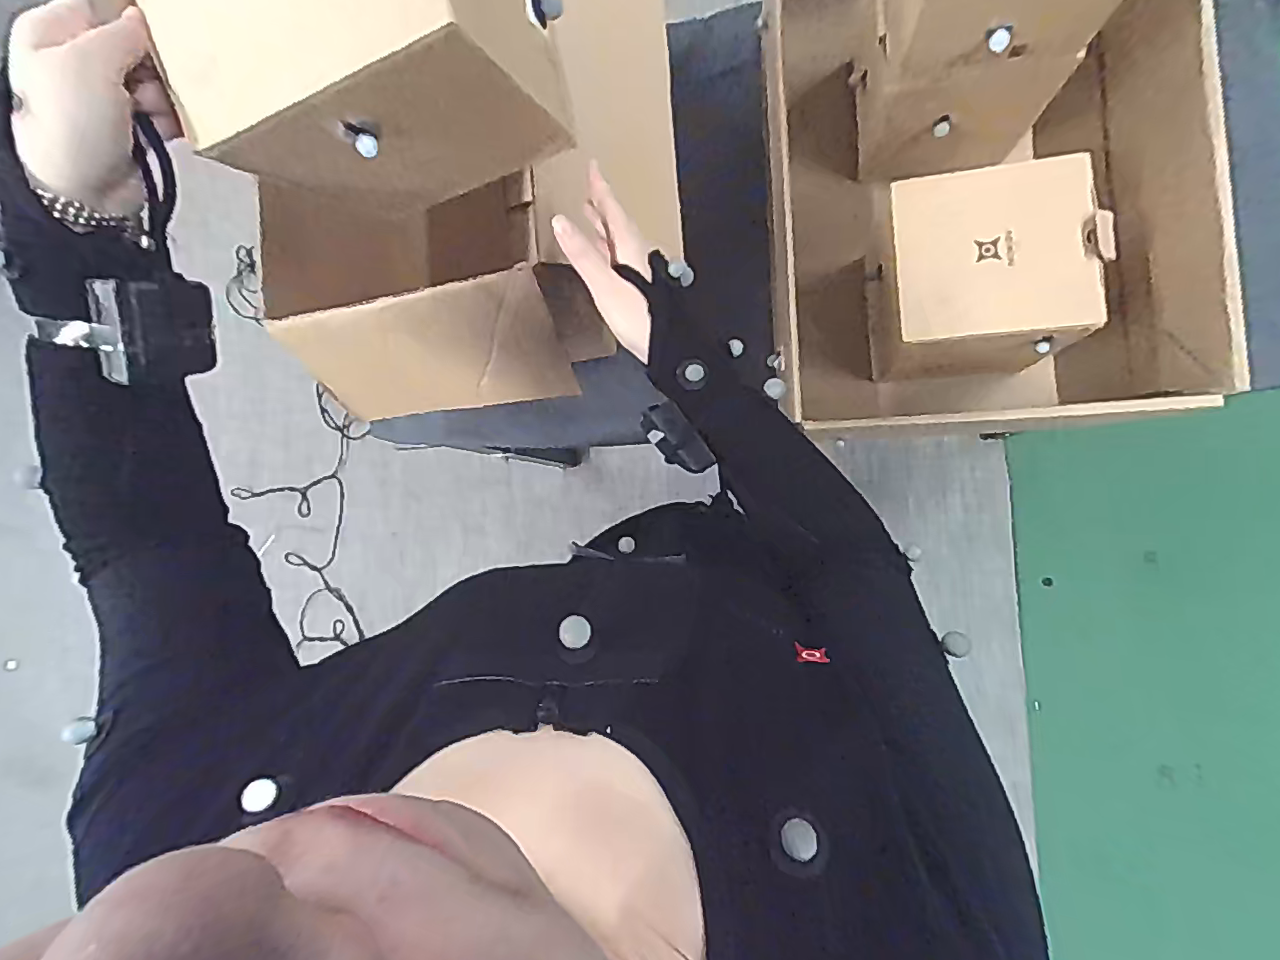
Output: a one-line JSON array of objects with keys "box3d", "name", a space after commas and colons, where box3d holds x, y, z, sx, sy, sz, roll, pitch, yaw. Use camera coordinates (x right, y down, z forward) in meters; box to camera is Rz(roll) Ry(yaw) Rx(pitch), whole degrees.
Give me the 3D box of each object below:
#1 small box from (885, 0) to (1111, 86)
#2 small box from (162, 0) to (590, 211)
[{"box3d": [0.310, -0.482, 0.450, 0.168, 0.176, 0.179, -2, 89, 11], "name": "small box"}, {"box3d": [-0.152, -0.288, 0.335, 0.179, 0.176, 0.168, -10, 102, 17], "name": "small box"}]
